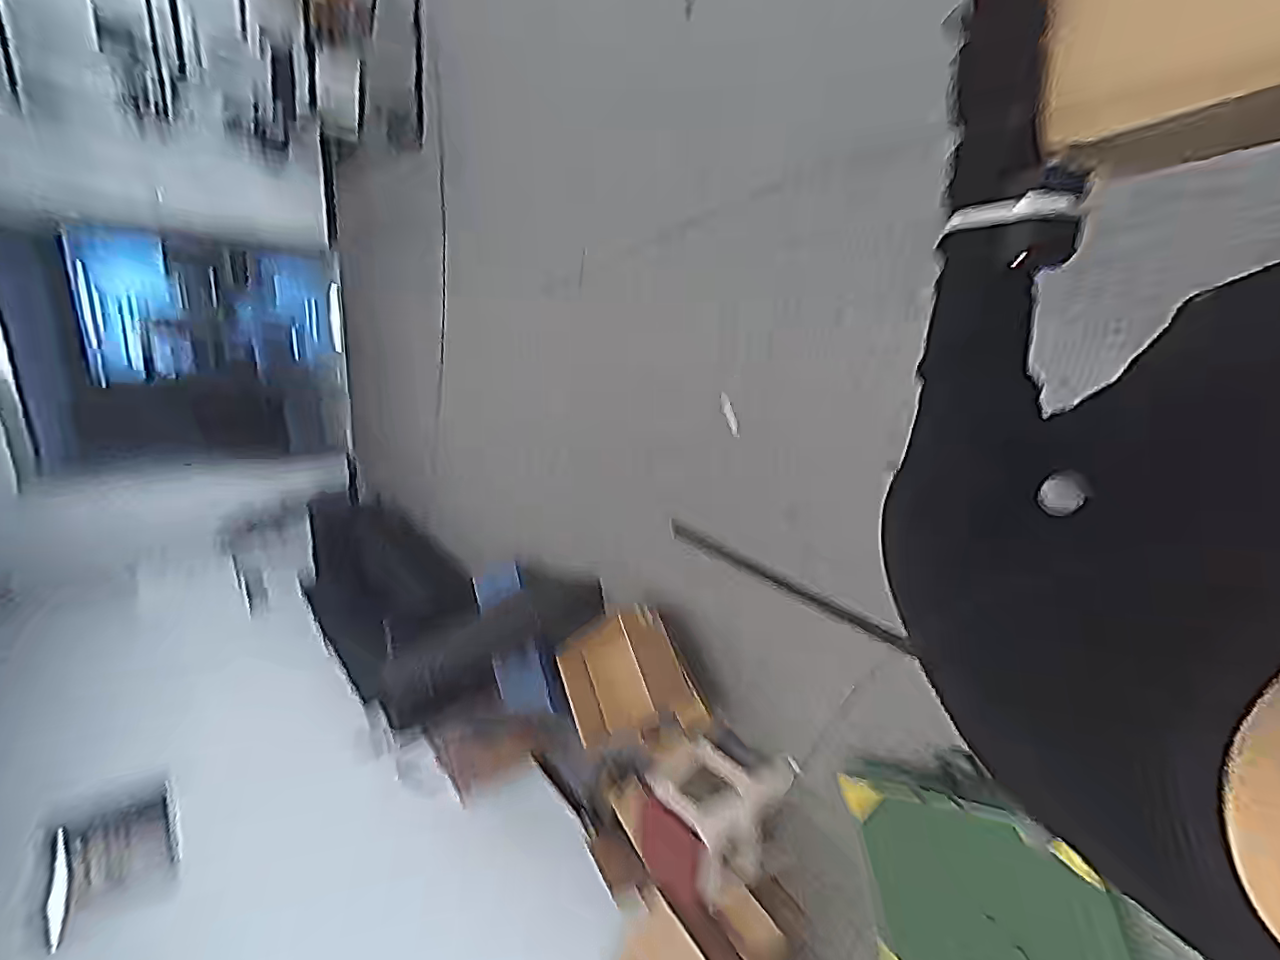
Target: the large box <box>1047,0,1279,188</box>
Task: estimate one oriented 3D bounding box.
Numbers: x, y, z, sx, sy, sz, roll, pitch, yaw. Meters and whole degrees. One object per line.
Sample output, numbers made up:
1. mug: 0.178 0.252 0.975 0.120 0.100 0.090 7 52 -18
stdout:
1. large box: 0.523 -0.418 0.329 0.408 0.320 0.320 5 111 46
